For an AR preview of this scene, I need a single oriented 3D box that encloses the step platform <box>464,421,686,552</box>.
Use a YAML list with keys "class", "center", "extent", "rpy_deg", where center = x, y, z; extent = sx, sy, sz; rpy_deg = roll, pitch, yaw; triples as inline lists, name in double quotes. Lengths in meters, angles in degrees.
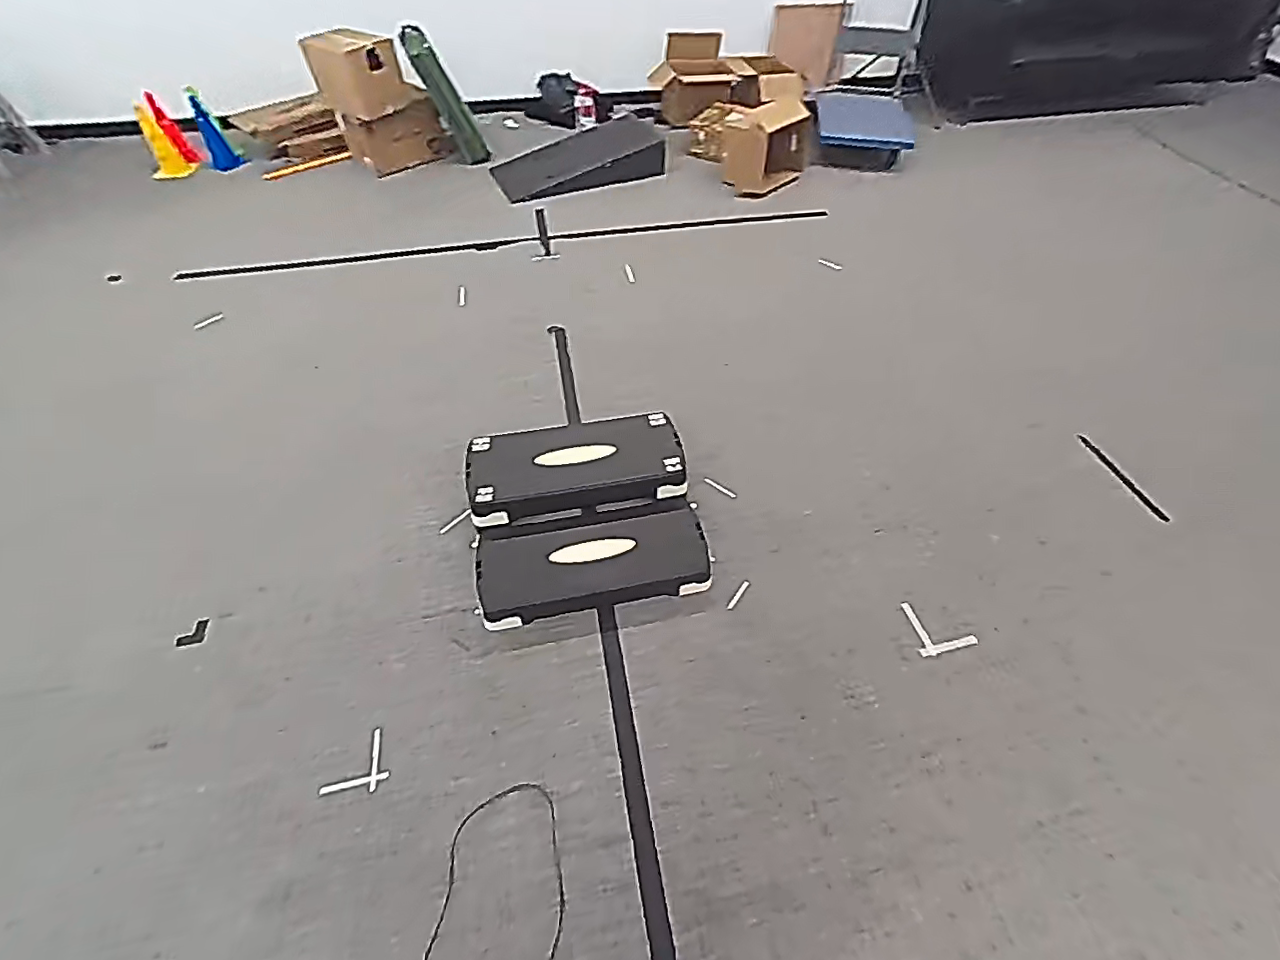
- class: "step platform"
  center: [-0.200, 0.009, 1.713]
  extent: [0.684, 0.204, 0.286]
  rpy_deg: [-9, 53, -9]
